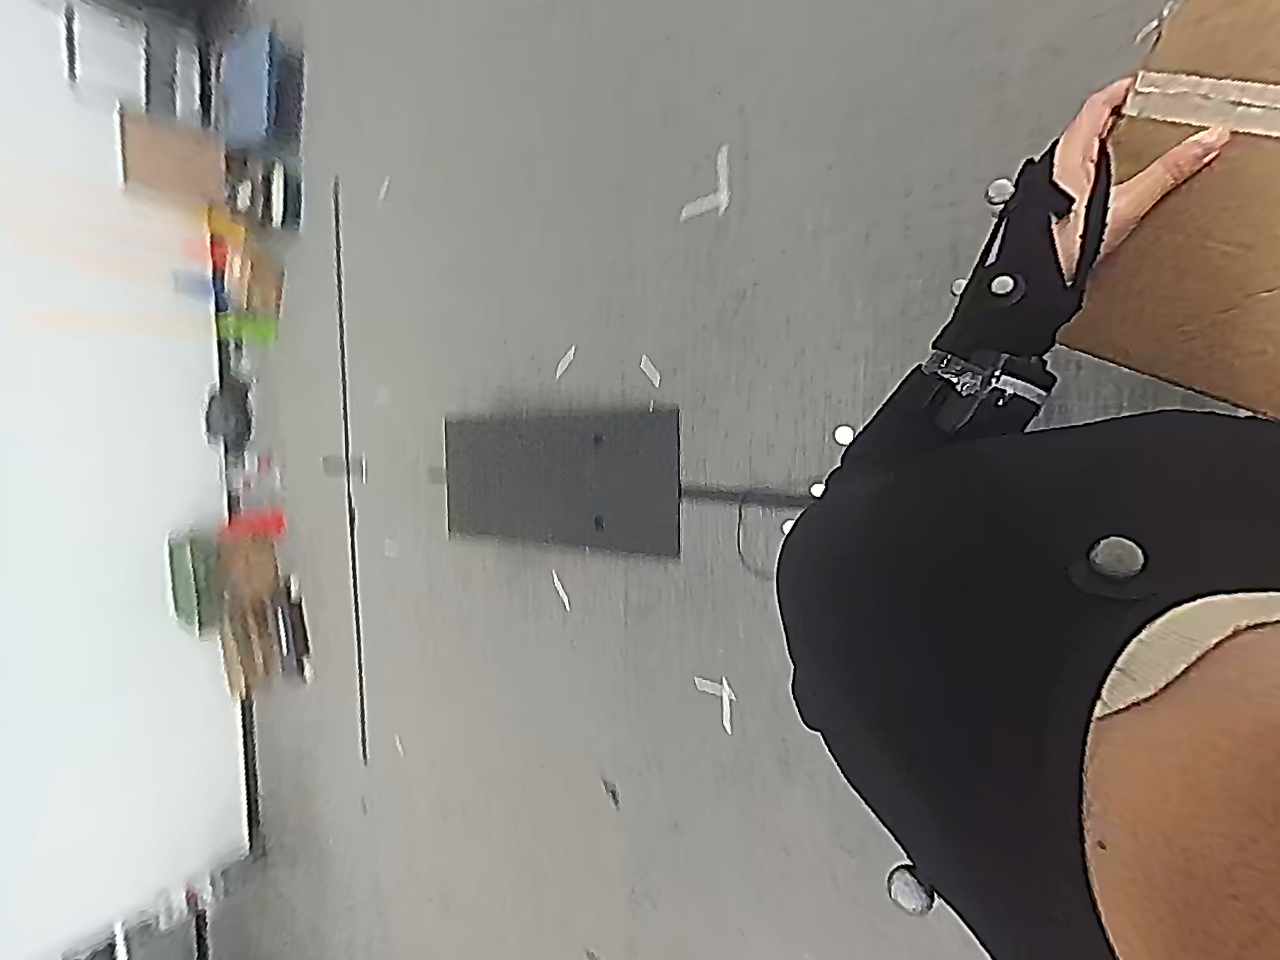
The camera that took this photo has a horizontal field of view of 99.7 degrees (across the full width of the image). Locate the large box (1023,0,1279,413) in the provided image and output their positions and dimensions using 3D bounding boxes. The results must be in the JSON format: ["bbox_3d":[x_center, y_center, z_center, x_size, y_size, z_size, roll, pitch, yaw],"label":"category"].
[{"bbox_3d":[0.535,-0.214,0.293,0.408,0.320,0.320,33,148,32],"label":"large box"}]

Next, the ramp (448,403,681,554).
[{"bbox_3d":[-0.315,-0.015,1.943,0.991,0.206,0.509,1,93,37],"label":"ramp"}]
